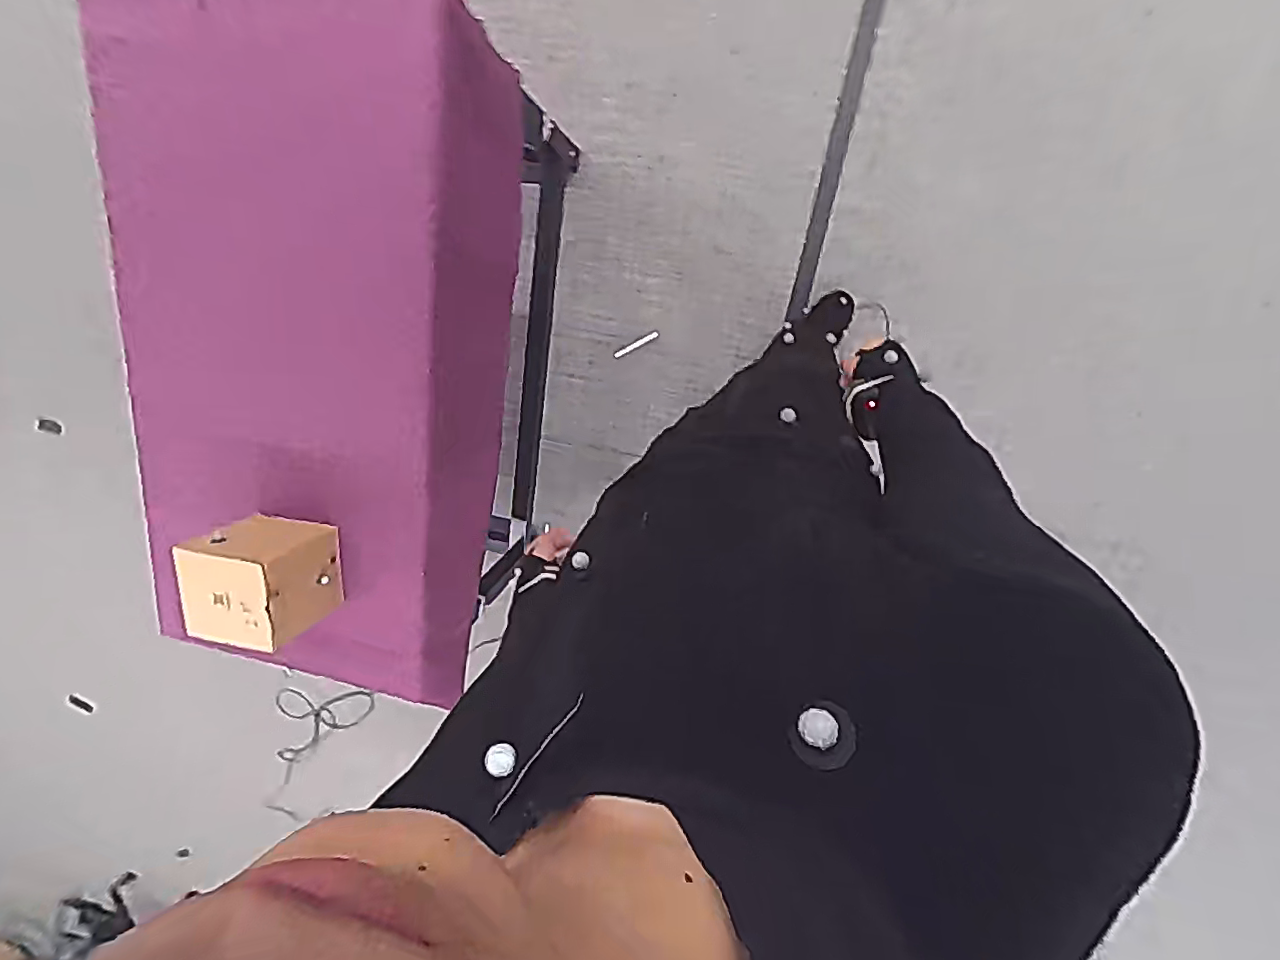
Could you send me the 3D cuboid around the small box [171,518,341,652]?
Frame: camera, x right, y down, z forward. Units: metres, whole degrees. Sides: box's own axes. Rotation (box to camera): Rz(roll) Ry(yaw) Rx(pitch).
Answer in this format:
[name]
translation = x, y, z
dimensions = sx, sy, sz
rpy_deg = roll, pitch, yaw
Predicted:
[small box]
translation = -0.672, 0.177, 0.965
dimensions = 0.179, 0.176, 0.168
rpy_deg = 7, 107, 8
